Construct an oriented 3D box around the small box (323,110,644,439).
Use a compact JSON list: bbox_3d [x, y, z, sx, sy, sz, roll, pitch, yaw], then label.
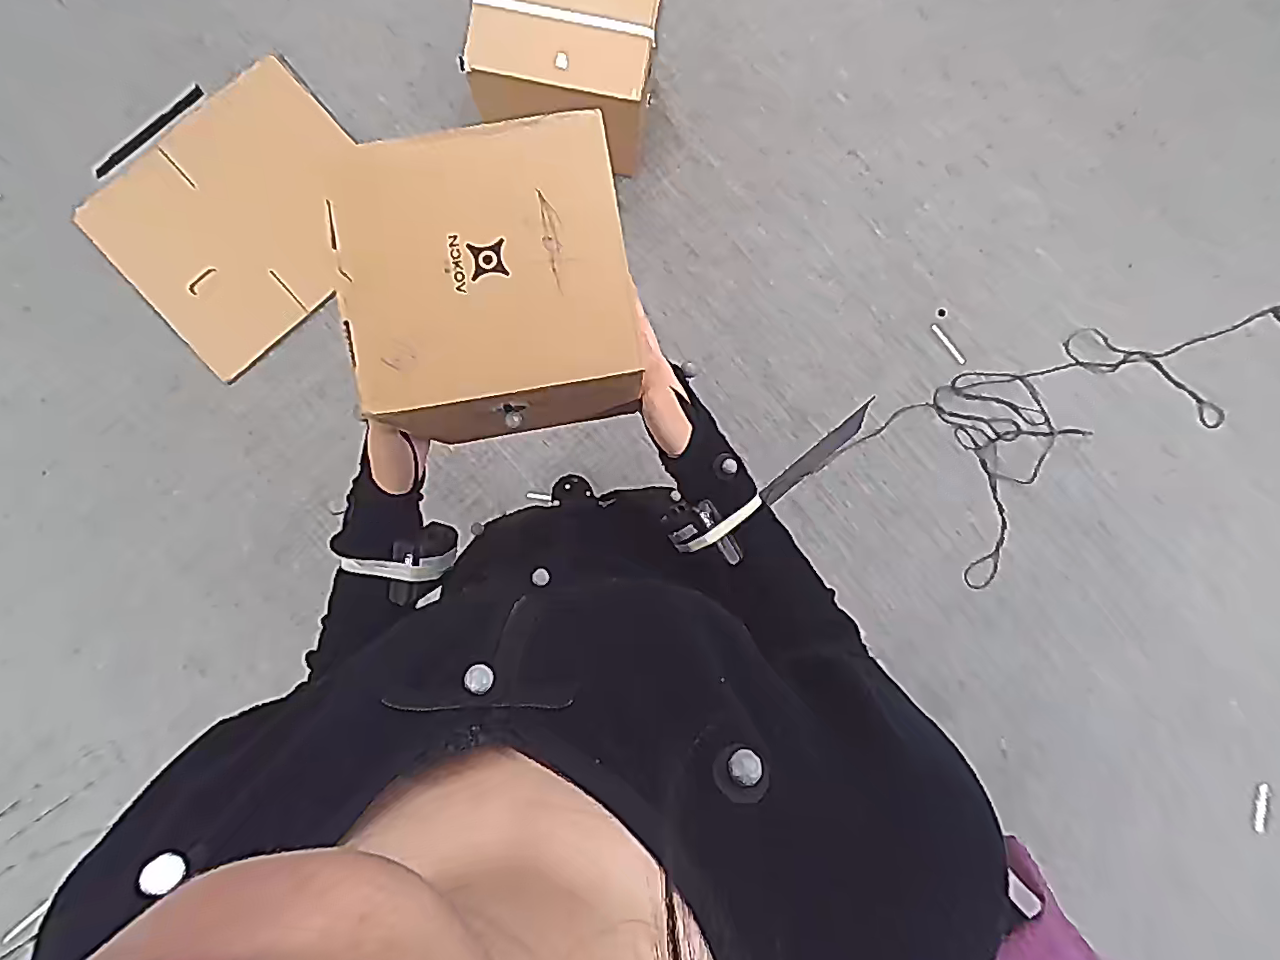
[{"bbox_3d":[-0.096,-0.130,0.406,0.179,0.176,0.168,-10,89,-2],"label":"small box"}]
